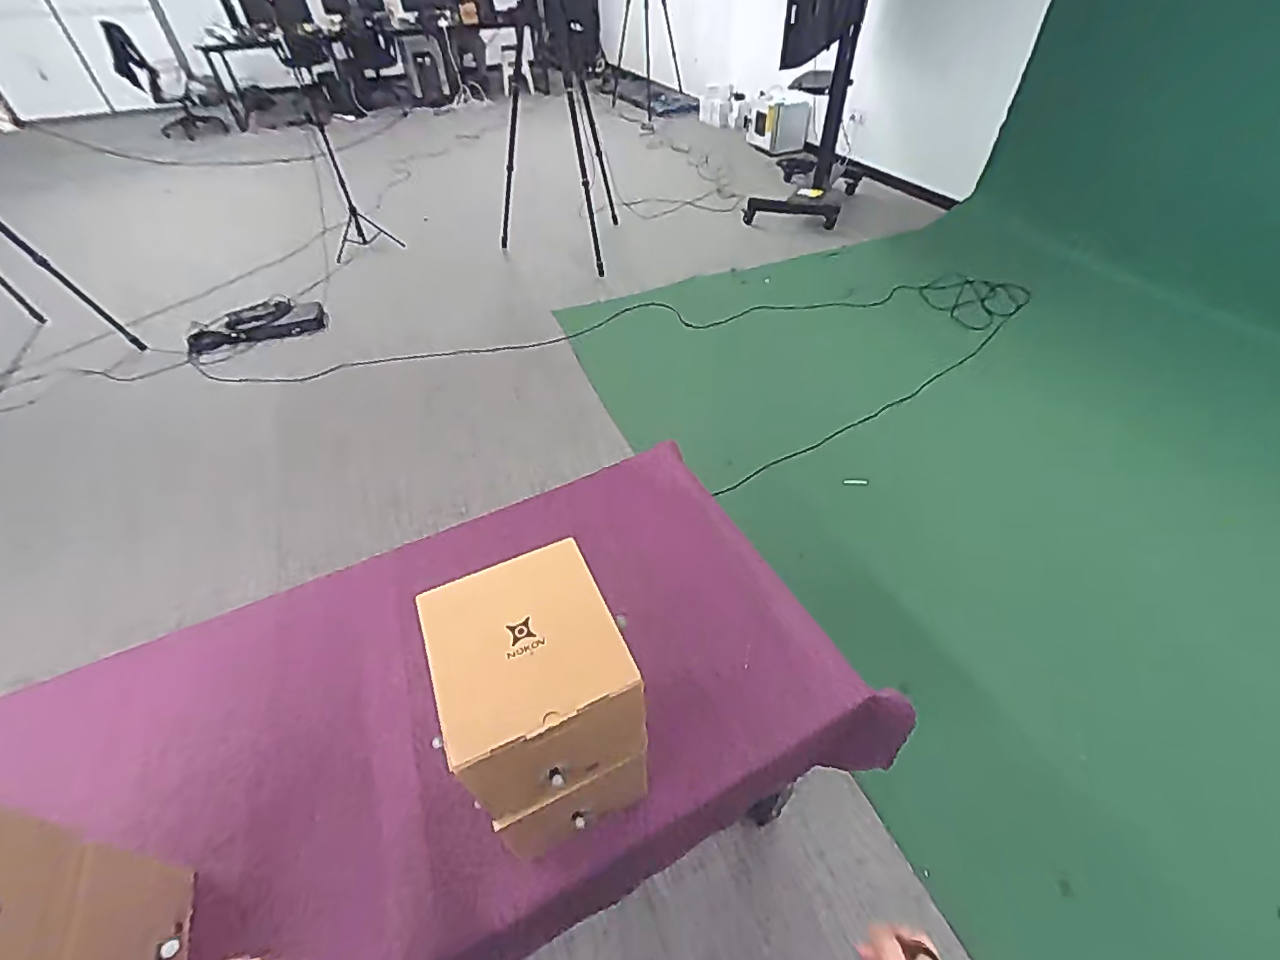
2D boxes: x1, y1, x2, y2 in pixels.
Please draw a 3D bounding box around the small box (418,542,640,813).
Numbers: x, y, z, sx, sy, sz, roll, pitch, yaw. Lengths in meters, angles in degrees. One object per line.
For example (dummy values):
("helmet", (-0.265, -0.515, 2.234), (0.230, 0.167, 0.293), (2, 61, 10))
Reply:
("small box", (-0.109, 0.200, 0.554), (0.168, 0.176, 0.179), (-19, 49, -16))
